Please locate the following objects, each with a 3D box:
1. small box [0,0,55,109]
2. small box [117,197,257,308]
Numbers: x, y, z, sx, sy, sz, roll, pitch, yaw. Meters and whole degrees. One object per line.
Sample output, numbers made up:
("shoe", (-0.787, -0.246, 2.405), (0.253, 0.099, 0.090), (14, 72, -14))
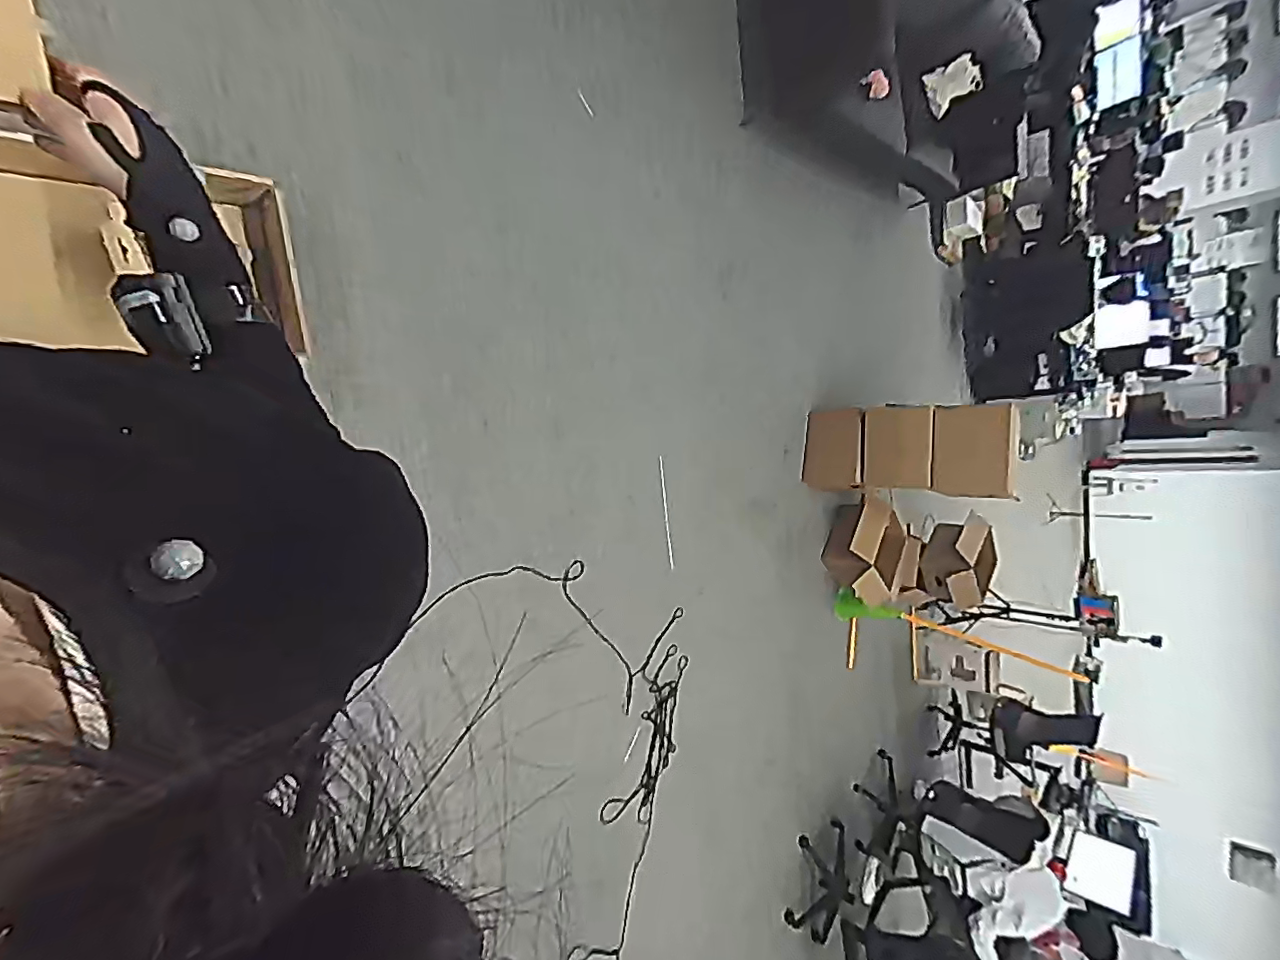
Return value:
("small box", (-0.506, -0.346, 0.332), (0.179, 0.176, 0.168), (-15, 123, -44))
("small box", (-0.909, -0.449, 1.090), (0.179, 0.176, 0.168), (-20, 105, -41))
